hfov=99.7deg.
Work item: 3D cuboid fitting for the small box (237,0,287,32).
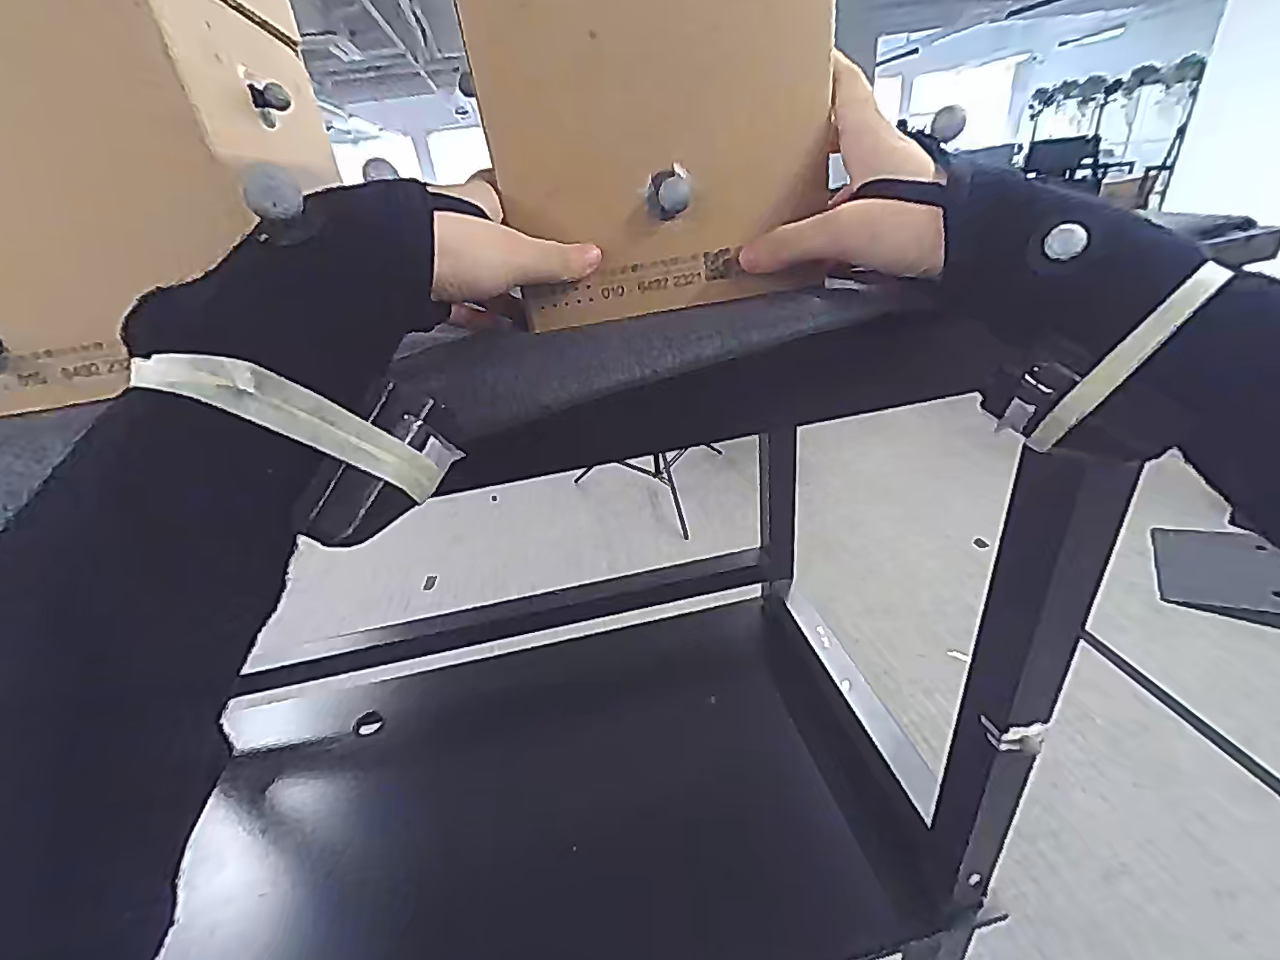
[{"bbox_3d":[-0.288,-0.296,0.228,0.168,0.176,0.179,-11,29,-5],"label":"small box"}]

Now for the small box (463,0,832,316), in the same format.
[{"bbox_3d":[-0.001,-0.205,0.328,0.168,0.176,0.179,-11,29,-4],"label":"small box"}]

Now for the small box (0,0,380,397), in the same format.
[{"bbox_3d":[-0.270,-0.152,0.301,0.168,0.176,0.179,-11,27,-6],"label":"small box"}]
